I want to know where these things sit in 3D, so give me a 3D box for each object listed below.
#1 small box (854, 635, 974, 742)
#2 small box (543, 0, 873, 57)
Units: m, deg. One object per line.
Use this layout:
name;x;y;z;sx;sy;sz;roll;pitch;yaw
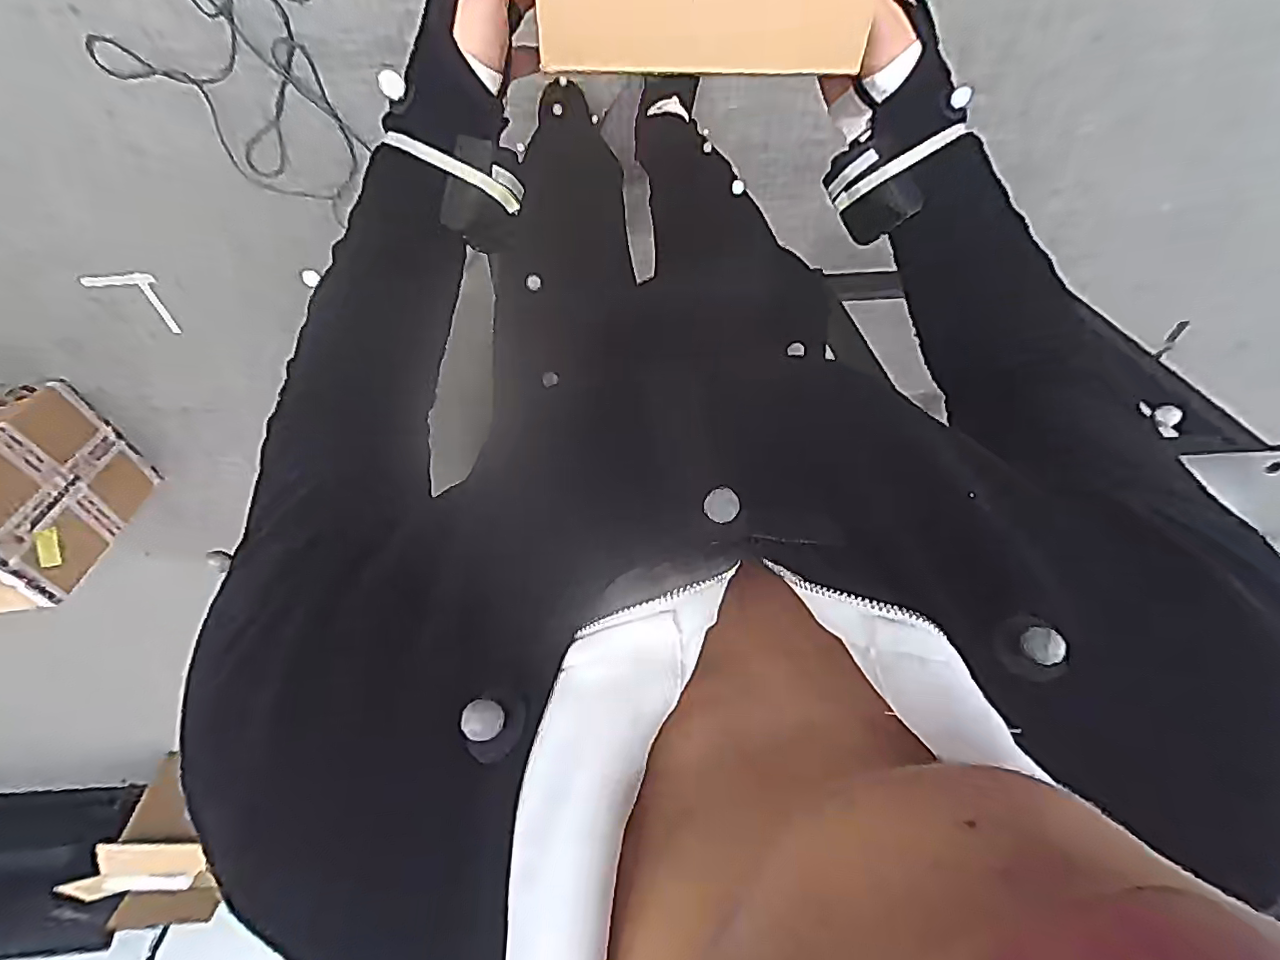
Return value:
small box;0.596;0.457;1.204;0.168;0.176;0.179;-6;134;2
small box;0.028;-0.336;0.278;0.168;0.176;0.179;-3;133;-3
